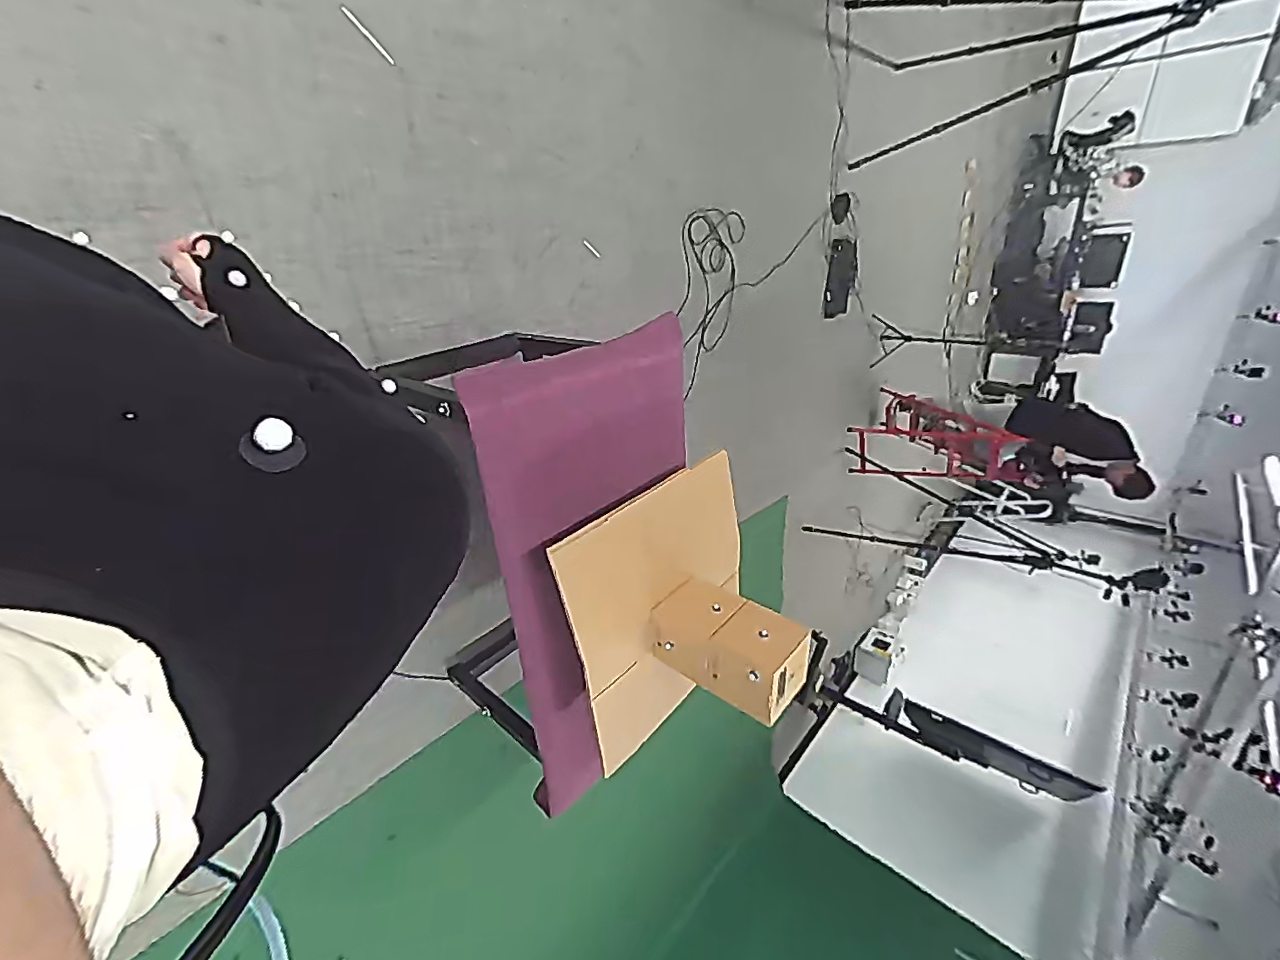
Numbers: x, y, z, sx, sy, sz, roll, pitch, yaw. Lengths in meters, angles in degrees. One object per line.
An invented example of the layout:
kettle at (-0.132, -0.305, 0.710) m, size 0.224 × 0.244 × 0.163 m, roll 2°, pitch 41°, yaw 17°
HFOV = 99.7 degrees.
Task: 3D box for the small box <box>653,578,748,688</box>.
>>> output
small box at (0.152, 0.375, 1.361) m, size 0.179 × 0.176 × 0.168 m, roll -29°, pitch 126°, yaw -39°
